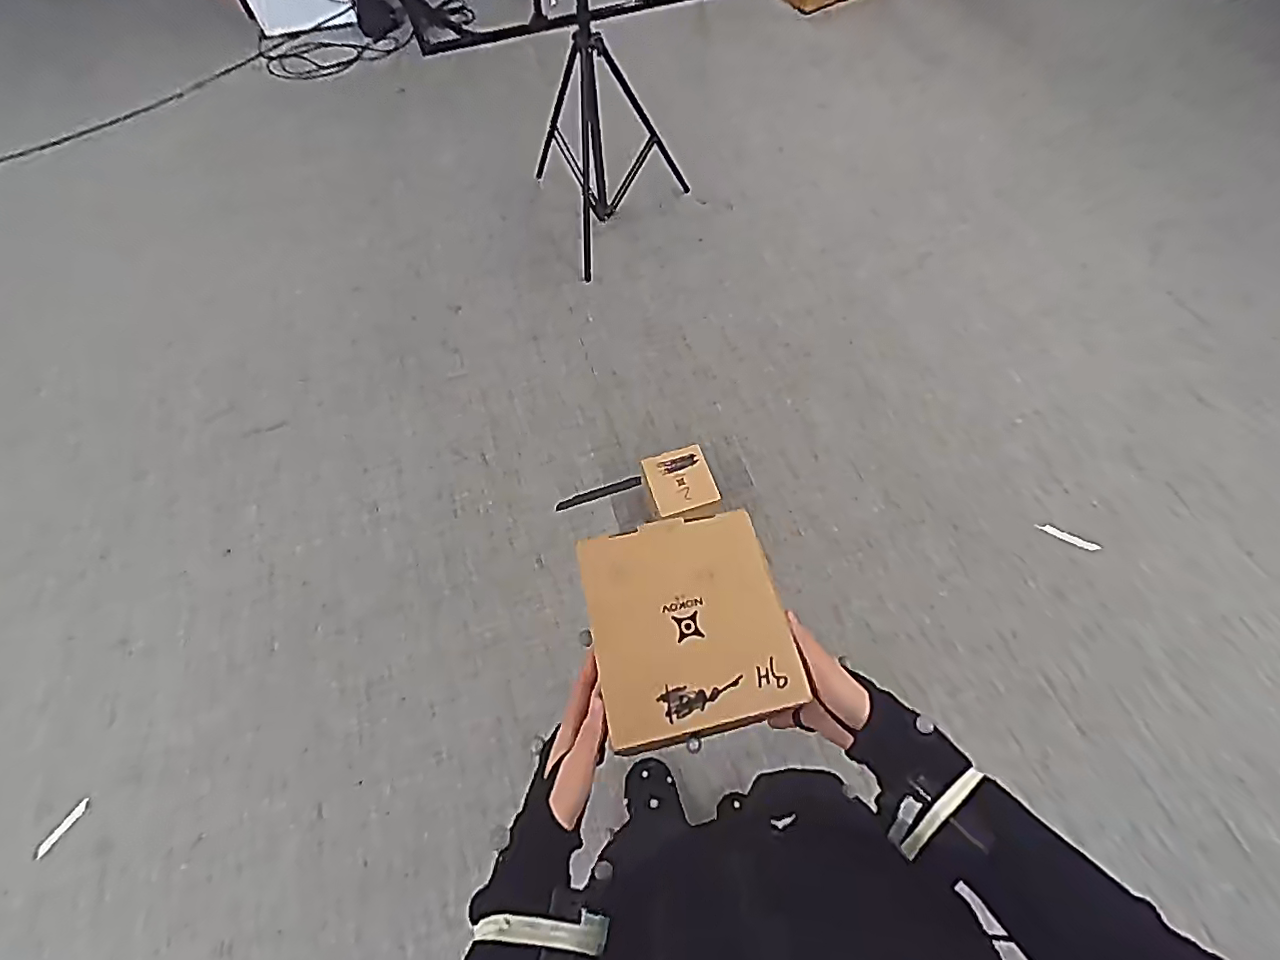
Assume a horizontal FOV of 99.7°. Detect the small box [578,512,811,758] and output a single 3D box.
[{"bbox_3d":[0.037,0.156,0.527,0.168,0.176,0.179,-11,62,-7],"label":"small box"}]
